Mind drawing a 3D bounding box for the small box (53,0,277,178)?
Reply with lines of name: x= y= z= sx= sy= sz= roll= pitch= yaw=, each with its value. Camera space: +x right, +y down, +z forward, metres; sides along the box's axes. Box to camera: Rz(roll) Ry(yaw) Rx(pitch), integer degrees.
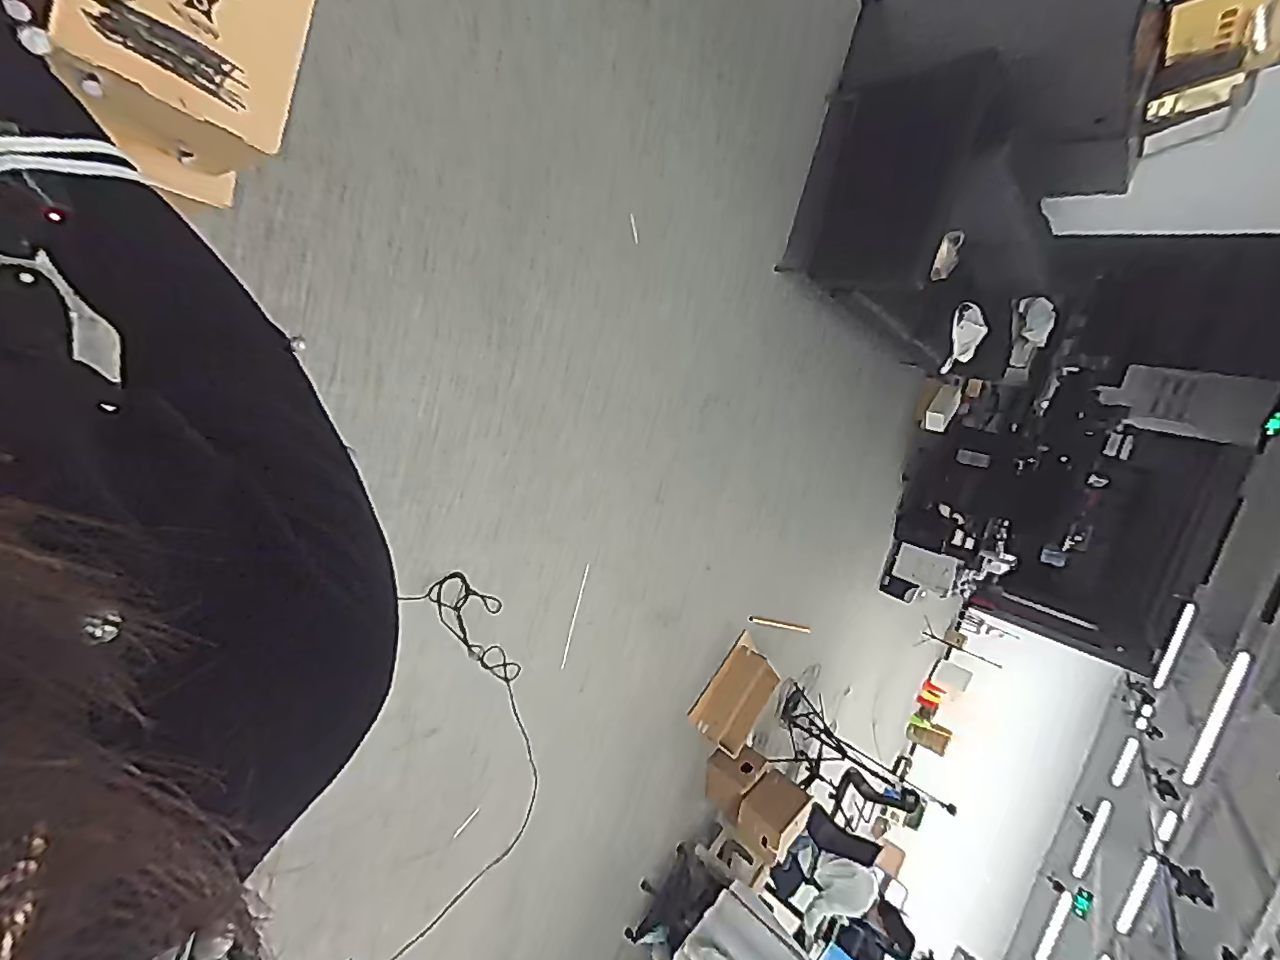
small box: x=-0.573 y=-0.494 z=0.655 sx=0.168 sy=0.176 sz=0.179 roll=11 pitch=97 yaw=-49
